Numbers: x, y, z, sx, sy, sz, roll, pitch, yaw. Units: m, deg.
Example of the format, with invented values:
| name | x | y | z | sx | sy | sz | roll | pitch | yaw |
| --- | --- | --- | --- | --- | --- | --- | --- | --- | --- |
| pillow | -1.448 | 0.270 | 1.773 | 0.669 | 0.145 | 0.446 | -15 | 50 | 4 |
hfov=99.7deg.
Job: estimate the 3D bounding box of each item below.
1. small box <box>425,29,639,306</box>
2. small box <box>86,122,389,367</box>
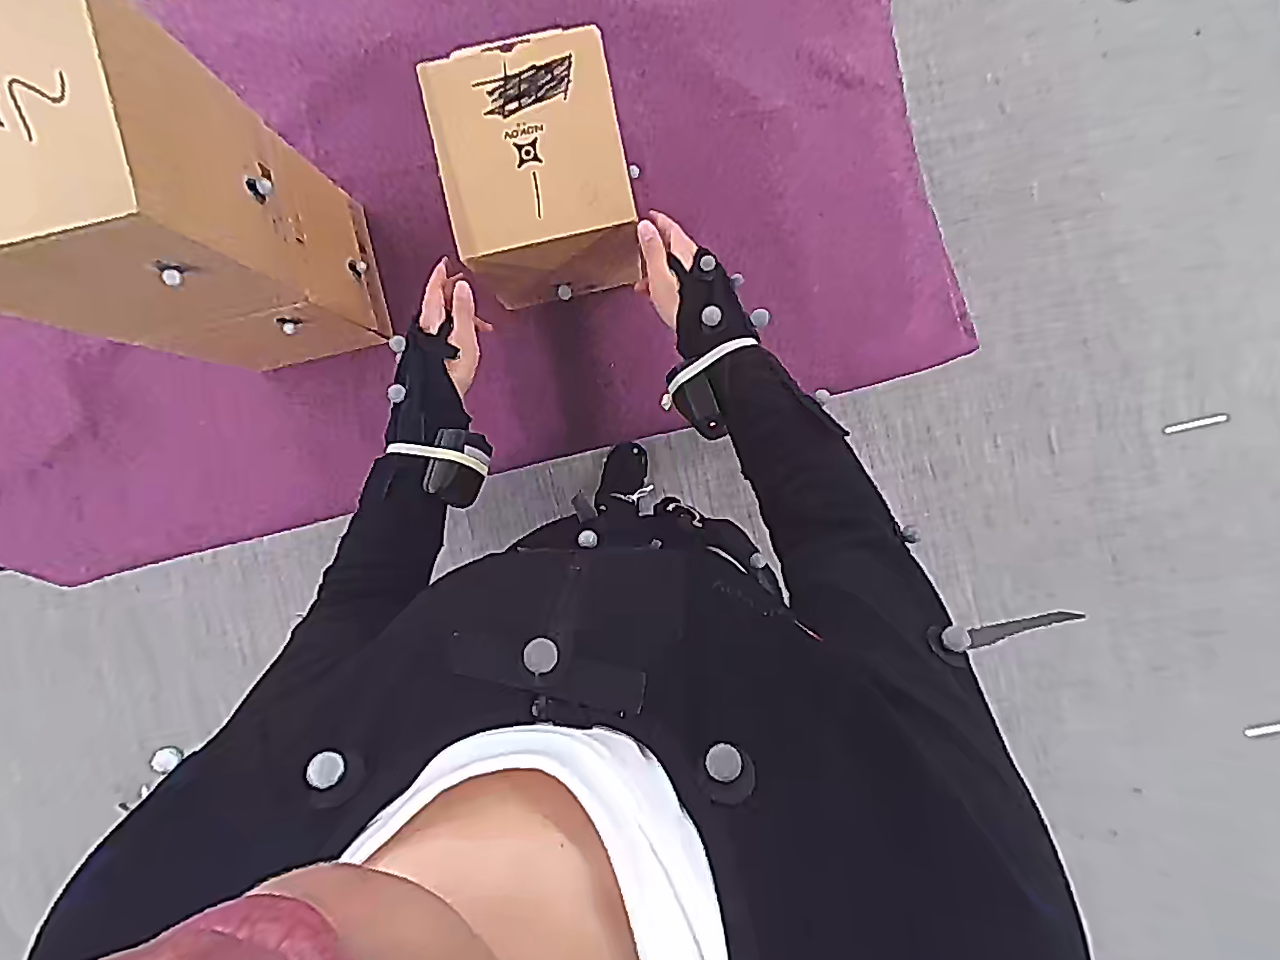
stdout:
| name | x | y | z | sx | sy | sz | roll | pitch | yaw |
| --- | --- | --- | --- | --- | --- | --- | --- | --- | --- |
| small box | -0.097 | -0.303 | 0.561 | 0.168 | 0.176 | 0.179 | -11 | 92 | 2 |
| small box | -0.402 | -0.228 | 0.571 | 0.179 | 0.176 | 0.168 | -13 | 91 | 1 |
